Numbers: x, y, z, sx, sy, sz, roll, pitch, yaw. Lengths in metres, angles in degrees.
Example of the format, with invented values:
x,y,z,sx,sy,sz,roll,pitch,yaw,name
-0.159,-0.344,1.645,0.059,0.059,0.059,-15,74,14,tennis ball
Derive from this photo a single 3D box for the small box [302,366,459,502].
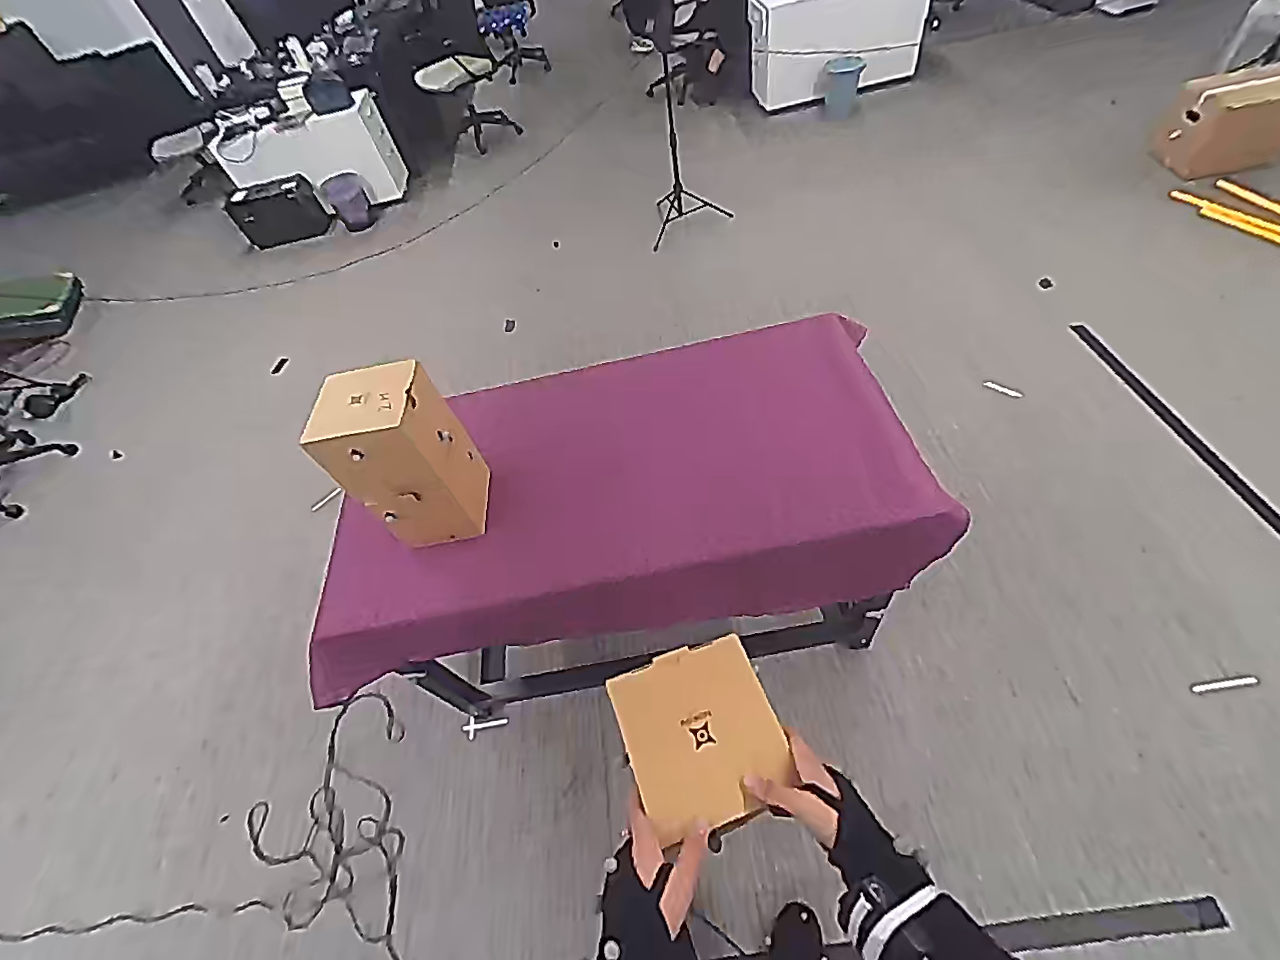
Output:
x,y,z,sx,sy,sz,roll,pitch,yaw,name
-0.453,-0.077,0.975,0.179,0.176,0.168,-9,52,5,small box

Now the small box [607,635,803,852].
x,y,z,sx,sy,sz,roll,pitch,yaw,name
0.071,0.320,0.649,0.168,0.176,0.179,-18,52,-9,small box
